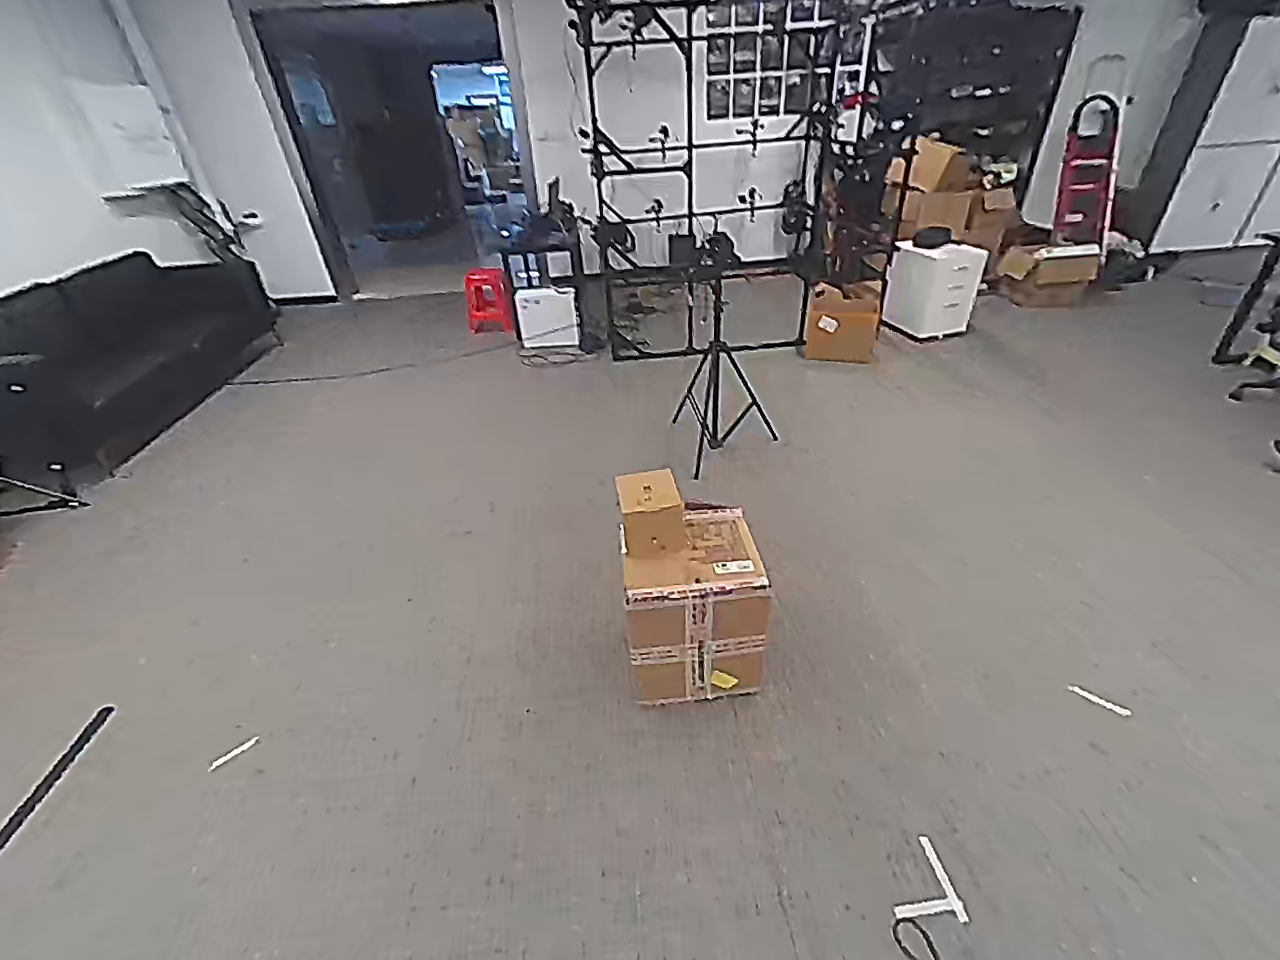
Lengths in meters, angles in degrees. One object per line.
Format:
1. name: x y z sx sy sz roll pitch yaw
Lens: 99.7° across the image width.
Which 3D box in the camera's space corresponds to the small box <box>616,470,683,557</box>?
1. small box: 0.027 0.097 1.562 0.168 0.176 0.179 -9 37 -4
